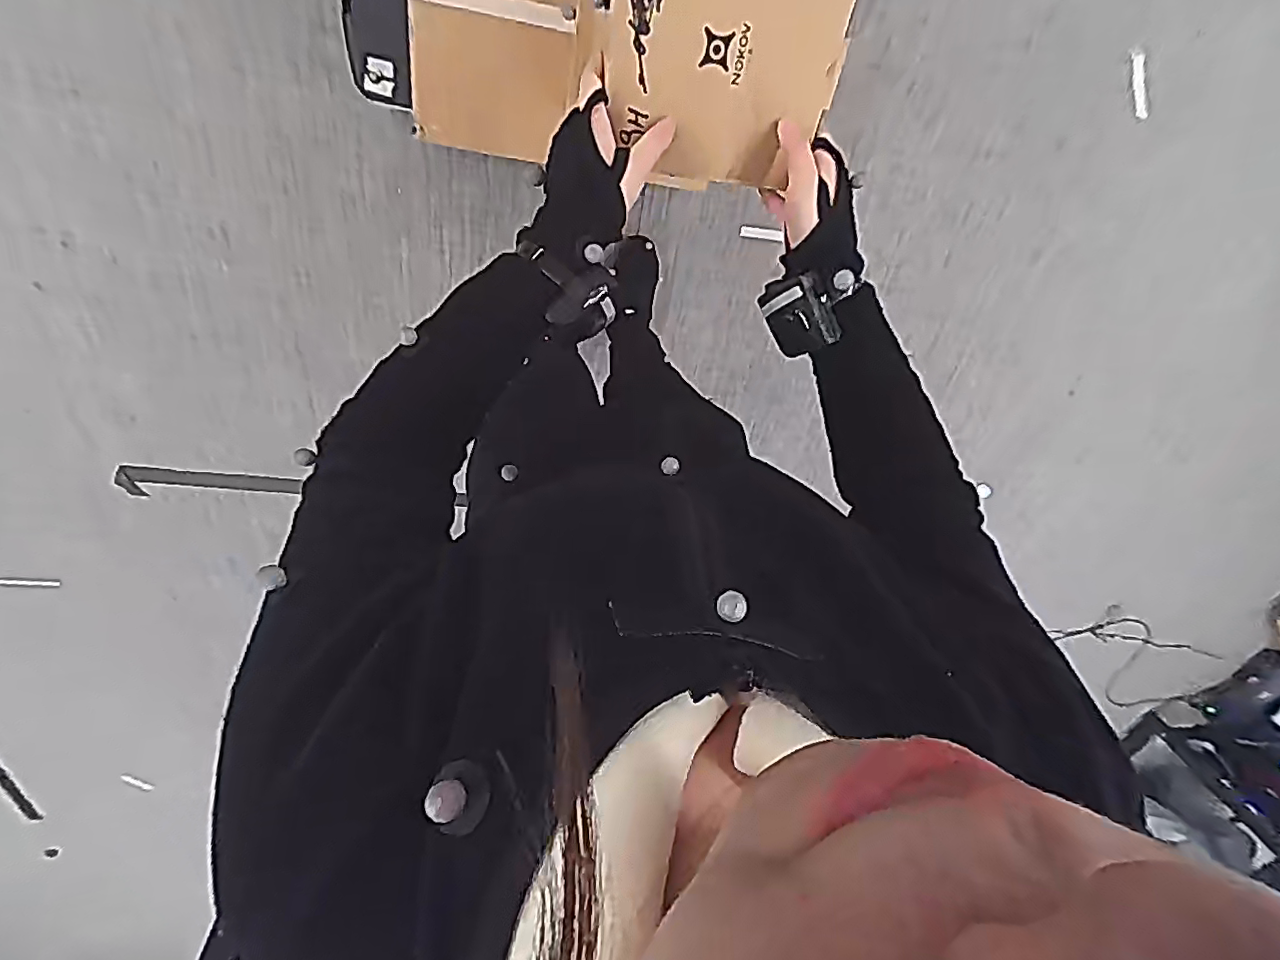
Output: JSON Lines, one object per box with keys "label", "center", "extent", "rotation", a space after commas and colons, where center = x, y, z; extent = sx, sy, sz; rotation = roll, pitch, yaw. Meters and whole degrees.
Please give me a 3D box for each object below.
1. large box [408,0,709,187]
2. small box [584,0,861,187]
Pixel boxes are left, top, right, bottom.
{"label": "large box", "center": [-0.091, -0.643, 0.784], "extent": [0.408, 0.320, 0.320], "rotation": [5, 122, -11]}
{"label": "small box", "center": [0.054, -0.361, 0.447], "extent": [0.179, 0.176, 0.168], "rotation": [2, 127, -12]}
